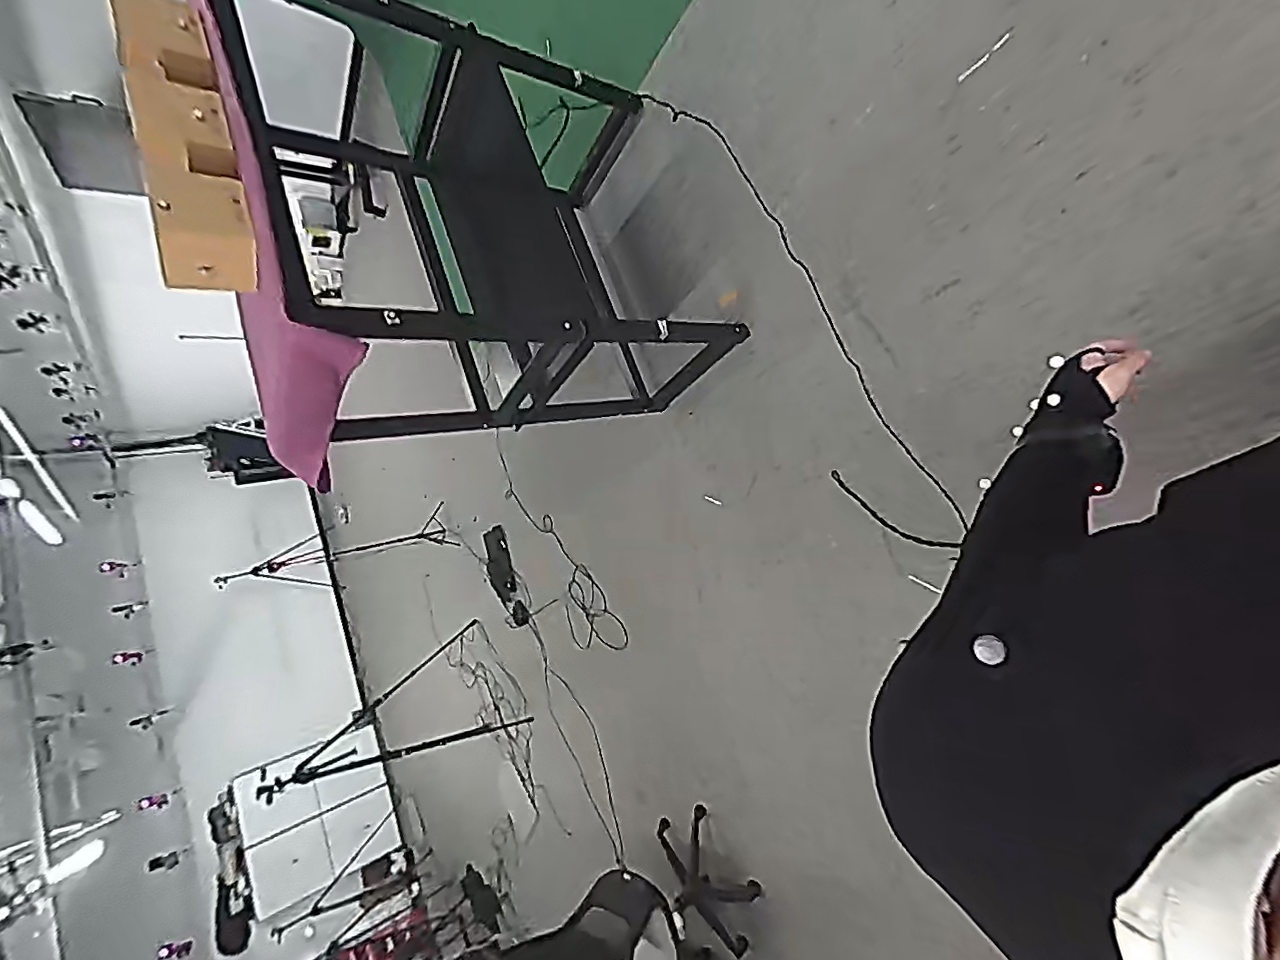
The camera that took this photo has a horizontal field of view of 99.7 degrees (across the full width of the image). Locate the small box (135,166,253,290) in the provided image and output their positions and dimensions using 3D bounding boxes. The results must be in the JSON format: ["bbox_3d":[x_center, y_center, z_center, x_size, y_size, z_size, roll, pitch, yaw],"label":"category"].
[{"bbox_3d":[-0.956,-0.533,1.172,0.179,0.176,0.168,-37,71,49],"label":"small box"}]

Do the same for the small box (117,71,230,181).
[{"bbox_3d":[-1.047,-0.763,1.226,0.179,0.176,0.168,-34,73,48],"label":"small box"}]
